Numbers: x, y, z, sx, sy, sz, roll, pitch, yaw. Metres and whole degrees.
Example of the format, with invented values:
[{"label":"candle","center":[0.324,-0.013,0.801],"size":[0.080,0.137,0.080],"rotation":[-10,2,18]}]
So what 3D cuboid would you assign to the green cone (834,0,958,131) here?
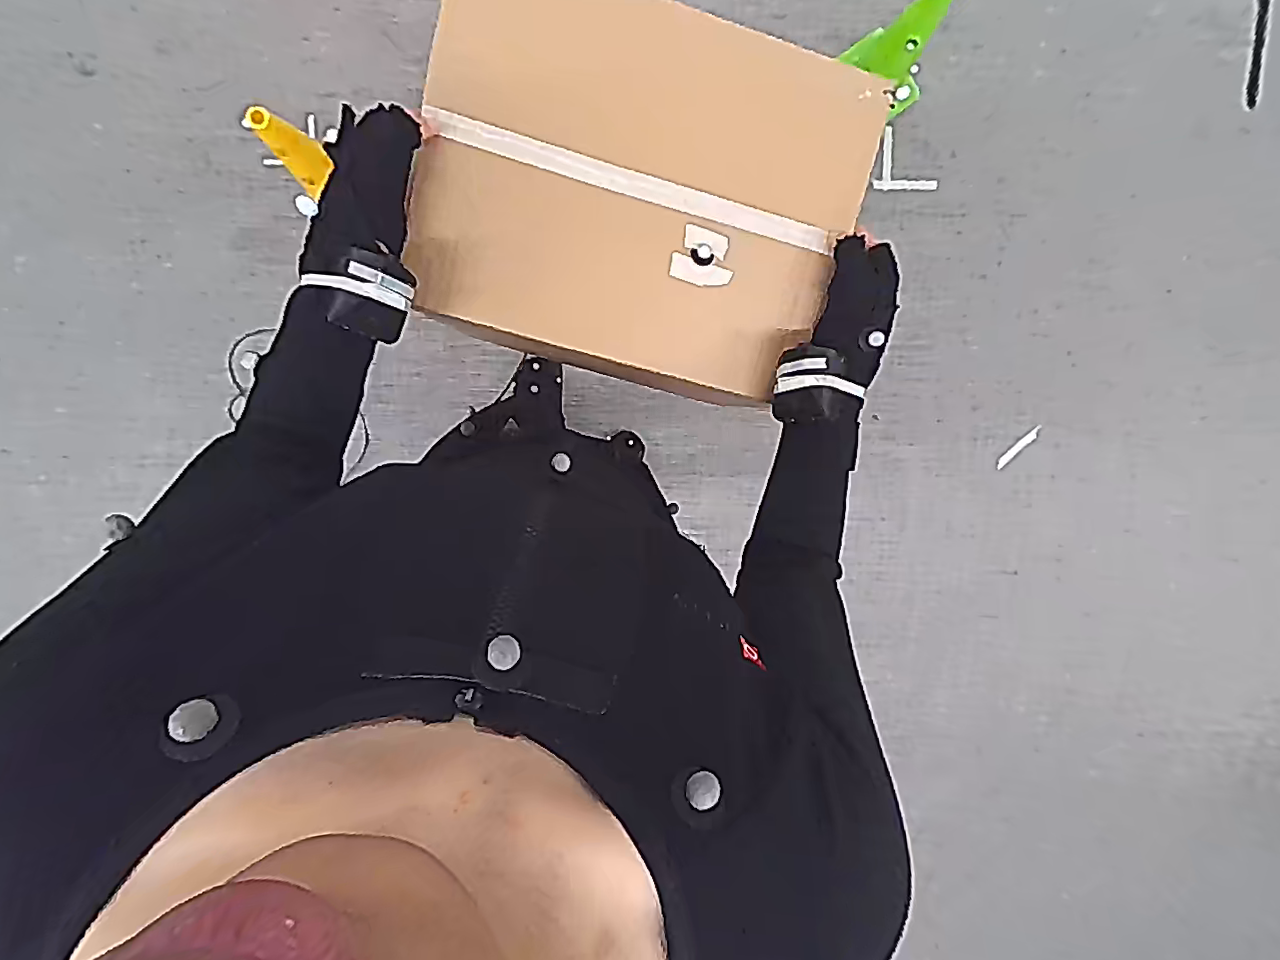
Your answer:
[{"label":"green cone","center":[0.609,-1.000,1.204],"size":[0.202,0.368,0.200],"rotation":[-36,98,1]}]

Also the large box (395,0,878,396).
[{"label":"large box","center":[-0.017,-0.296,0.644],"size":[0.408,0.320,0.320],"rotation":[13,98,-8]}]
